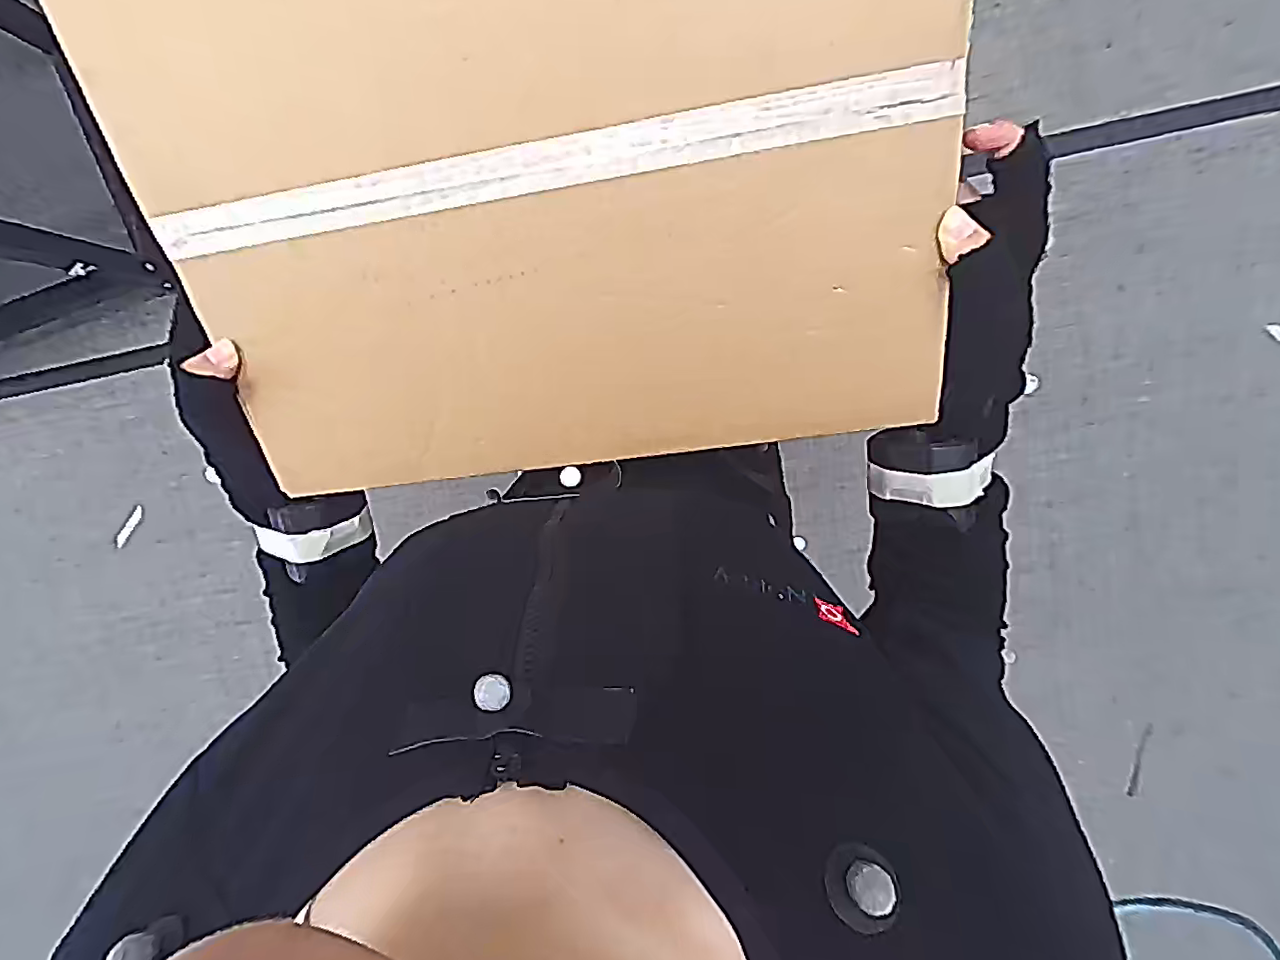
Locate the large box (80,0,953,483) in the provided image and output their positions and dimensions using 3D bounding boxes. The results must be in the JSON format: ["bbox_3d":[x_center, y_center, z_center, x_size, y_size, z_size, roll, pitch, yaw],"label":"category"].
[{"bbox_3d":[-0.047,-0.221,0.408,0.408,0.320,0.320,-7,116,7],"label":"large box"}]
